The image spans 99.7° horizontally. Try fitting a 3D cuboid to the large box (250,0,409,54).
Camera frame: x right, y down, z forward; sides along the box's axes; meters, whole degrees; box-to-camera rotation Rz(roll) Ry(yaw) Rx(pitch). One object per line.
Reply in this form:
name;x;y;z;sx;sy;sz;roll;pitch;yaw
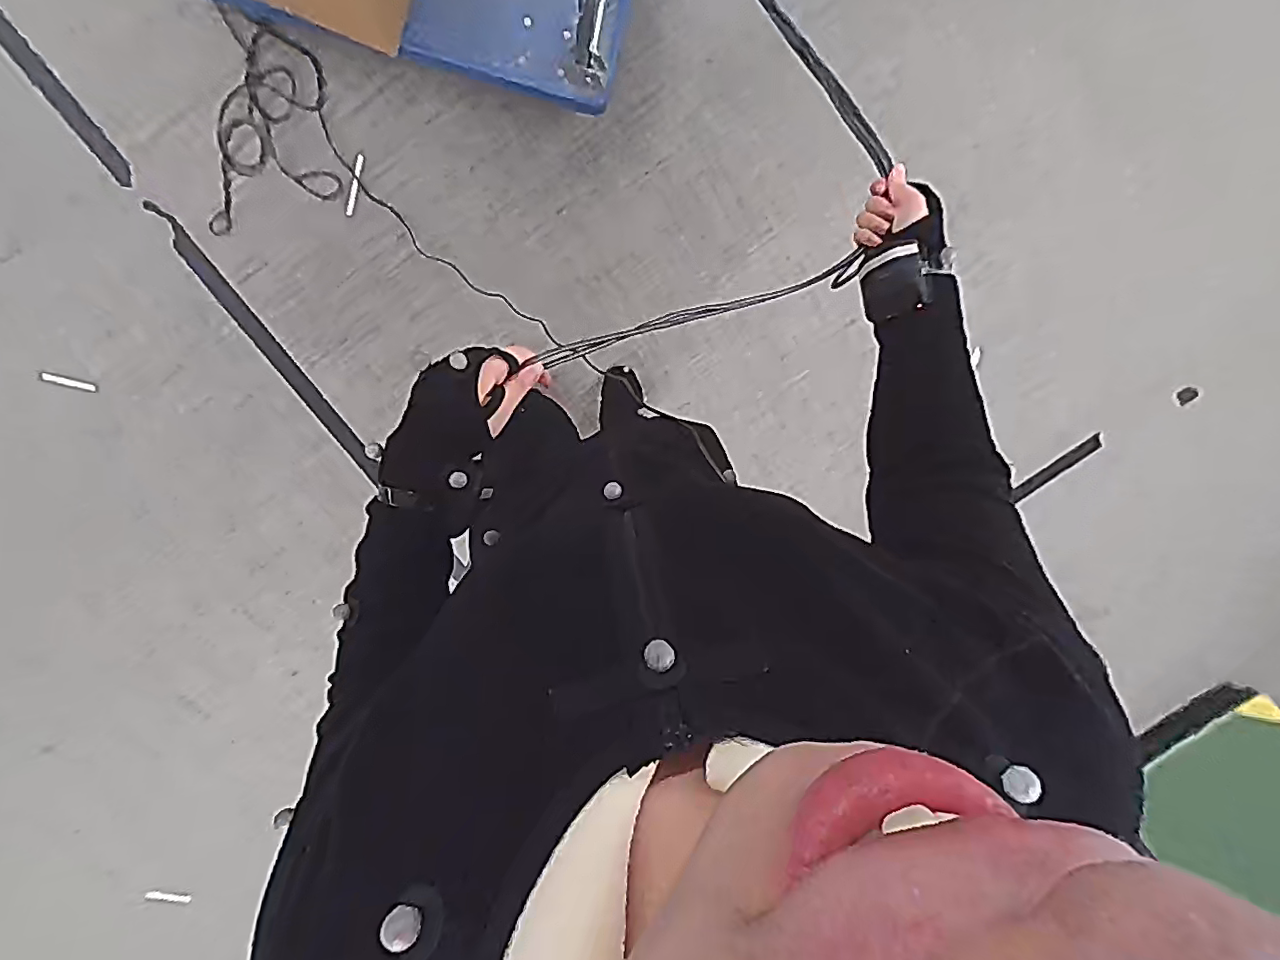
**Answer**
large box;-0.602;-0.994;0.863;0.408;0.320;0.320;17;99;-10
